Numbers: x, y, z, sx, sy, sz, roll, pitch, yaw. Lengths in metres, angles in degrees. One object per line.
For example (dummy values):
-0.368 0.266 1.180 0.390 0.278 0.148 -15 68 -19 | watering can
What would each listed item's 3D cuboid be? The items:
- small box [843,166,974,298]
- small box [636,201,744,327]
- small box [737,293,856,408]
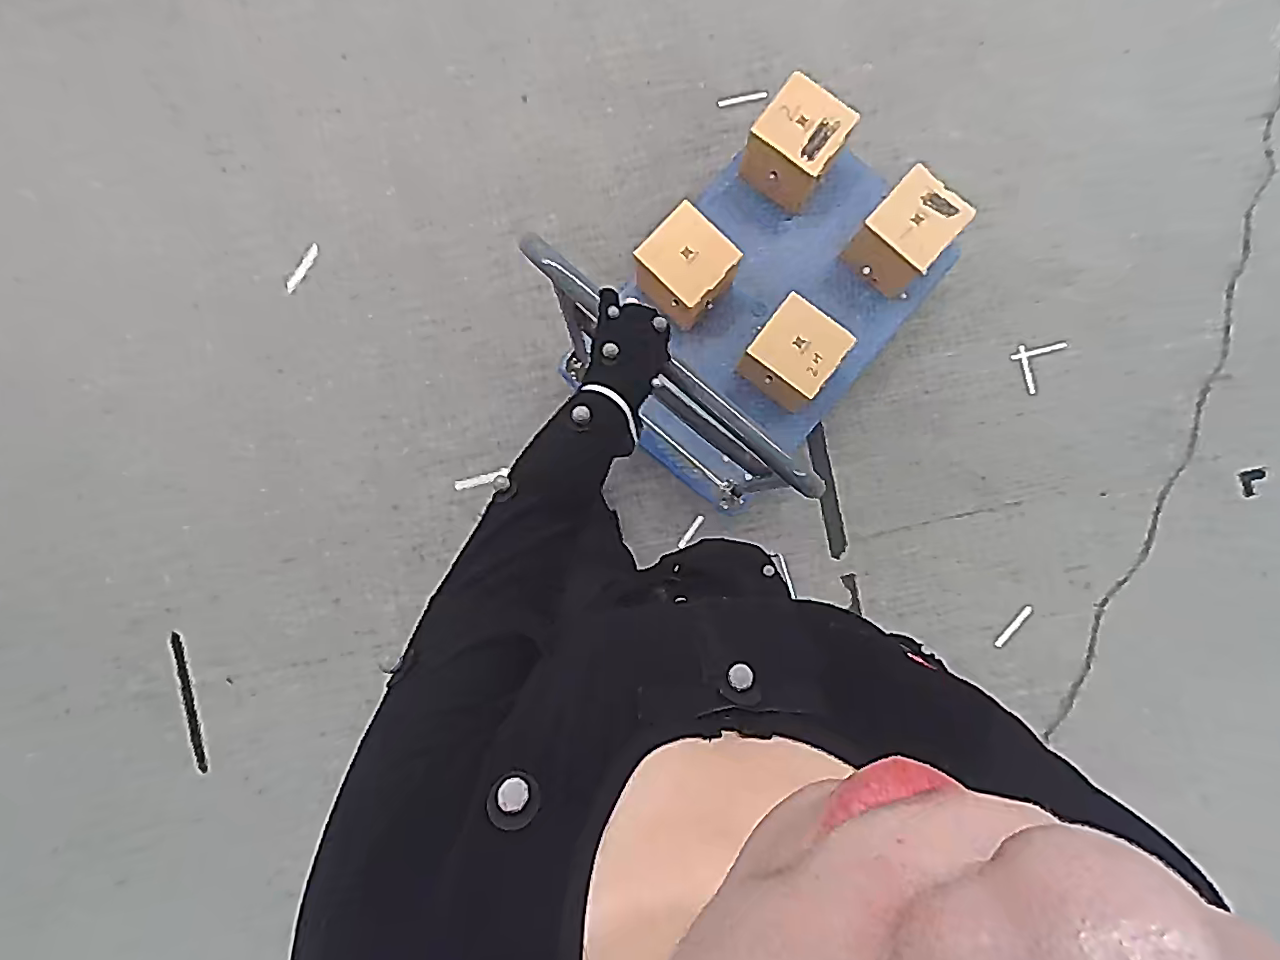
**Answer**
0.596 -0.552 1.227 0.168 0.176 0.179 42 91 2 | small box
0.105 -0.481 1.235 0.179 0.176 0.168 44 89 0 | small box
0.342 -0.282 1.225 0.179 0.176 0.168 38 90 2 | small box
